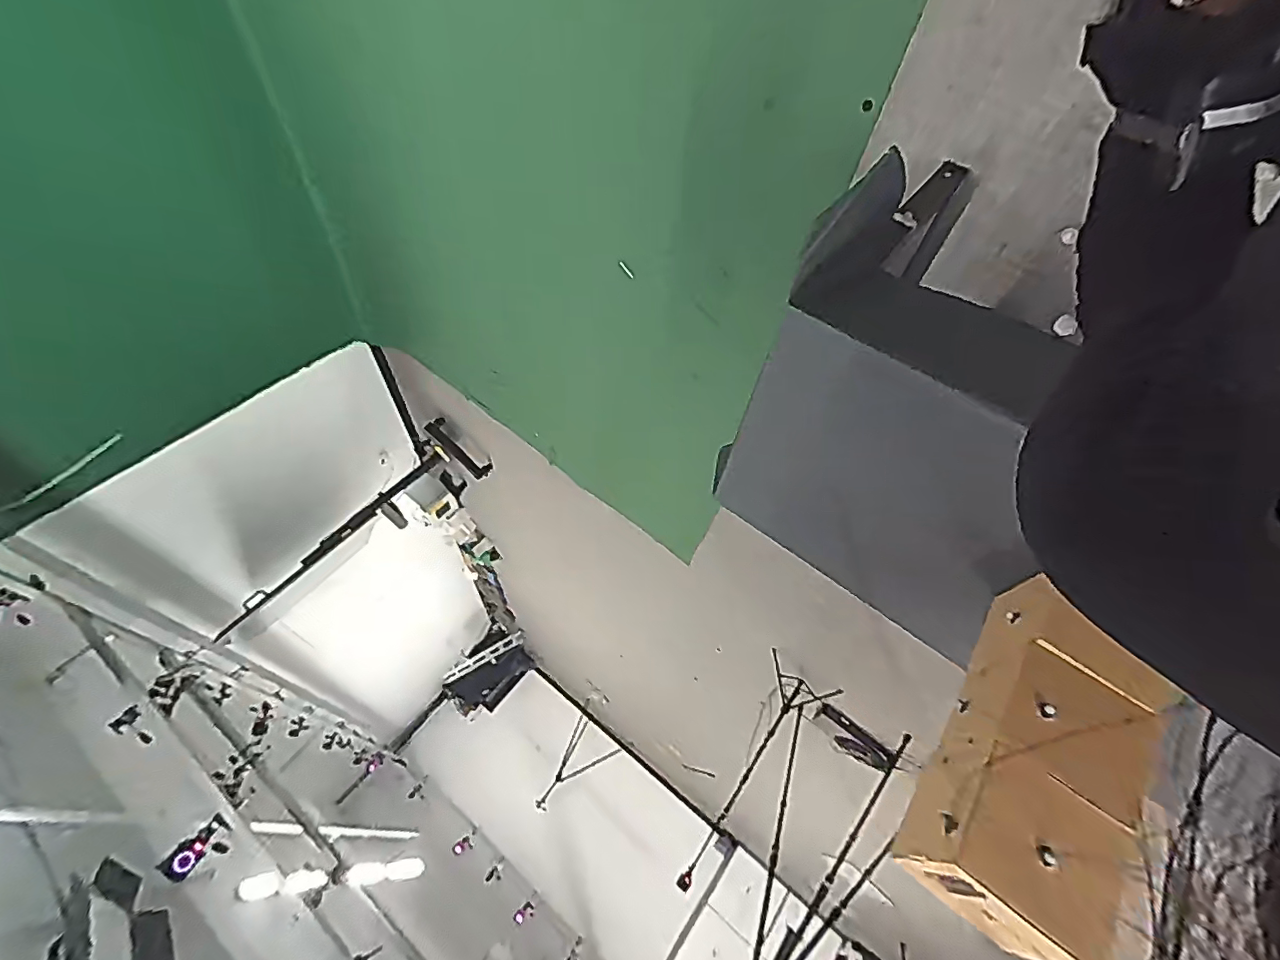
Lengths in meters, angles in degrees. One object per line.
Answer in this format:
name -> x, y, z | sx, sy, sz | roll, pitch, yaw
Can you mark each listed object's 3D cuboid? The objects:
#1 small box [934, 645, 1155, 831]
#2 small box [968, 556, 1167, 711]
small box -> 0.570, 0.360, 0.773 | 0.179, 0.176, 0.168 | 34, 151, 18
small box -> 0.668, 0.254, 0.849 | 0.168, 0.176, 0.179 | 35, 149, 16
